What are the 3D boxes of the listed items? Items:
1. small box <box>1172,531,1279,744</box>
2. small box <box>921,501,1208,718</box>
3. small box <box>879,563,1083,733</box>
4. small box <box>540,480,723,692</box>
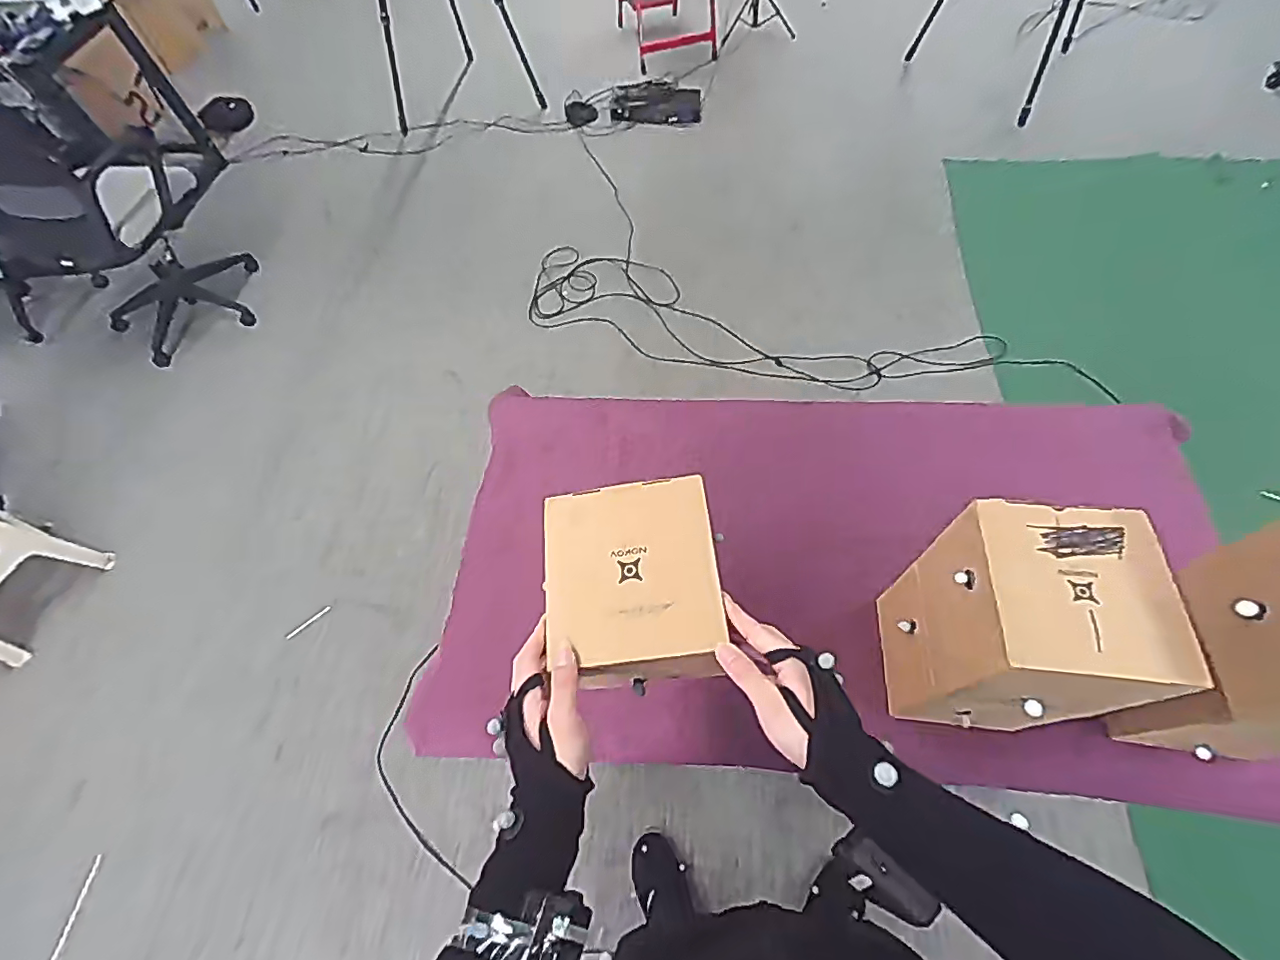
[{"bbox_3d":[0.702,0.165,0.543,0.168,0.176,0.179,5,60,9],"label":"small box"},{"bbox_3d":[0.424,0.144,0.584,0.168,0.176,0.179,4,60,8],"label":"small box"},{"bbox_3d":[0.434,0.229,0.723,0.168,0.176,0.179,4,59,7],"label":"small box"},{"bbox_3d":[-0.005,0.122,0.585,0.168,0.176,0.179,-8,62,5],"label":"small box"}]
